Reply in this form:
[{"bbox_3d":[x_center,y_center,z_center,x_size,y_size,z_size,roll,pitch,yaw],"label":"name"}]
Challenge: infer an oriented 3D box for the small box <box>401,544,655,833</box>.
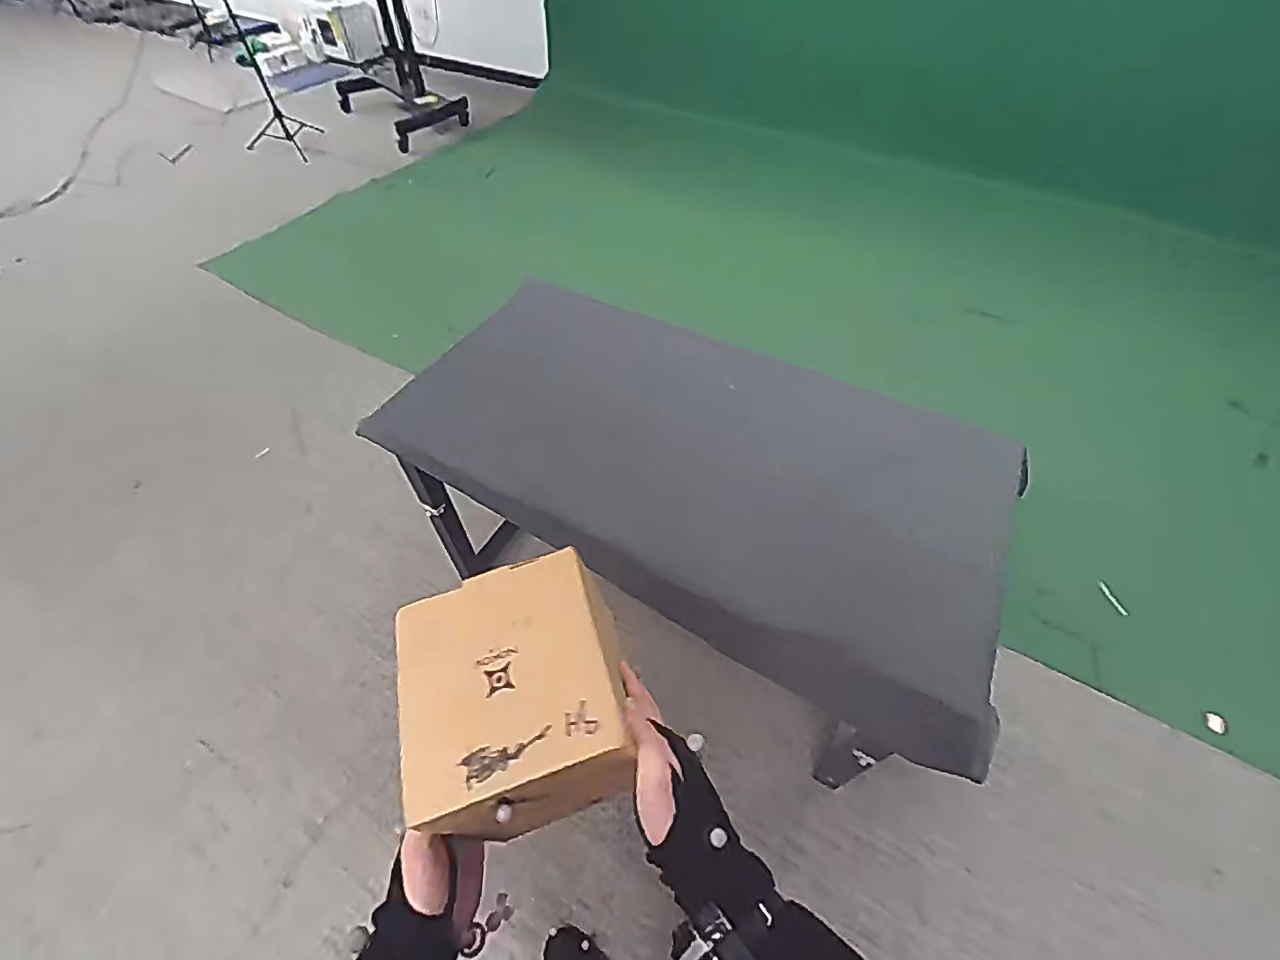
[{"bbox_3d":[-0.096,0.193,0.492,0.168,0.176,0.179,-20,53,-3],"label":"small box"}]
